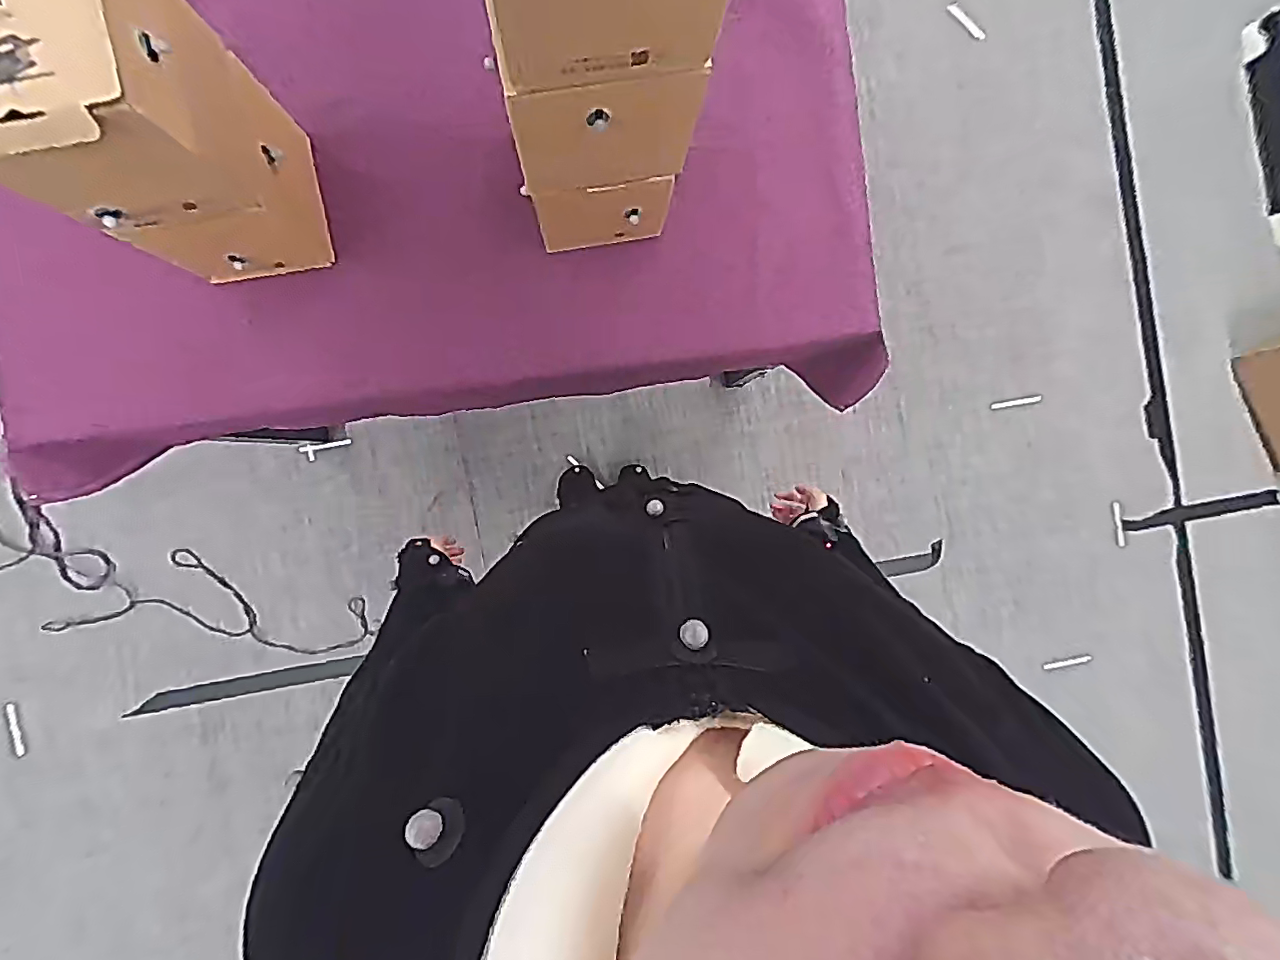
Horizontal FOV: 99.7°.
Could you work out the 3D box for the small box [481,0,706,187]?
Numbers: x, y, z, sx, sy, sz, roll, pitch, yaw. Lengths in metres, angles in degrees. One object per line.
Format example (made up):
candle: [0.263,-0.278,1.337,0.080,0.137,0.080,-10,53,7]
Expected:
small box: [-0.049,-0.407,0.515,0.179,0.176,0.168,-11,94,-5]

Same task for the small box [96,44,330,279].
small box: [-0.507,-0.364,0.647,0.168,0.176,0.179,-11,94,-4]

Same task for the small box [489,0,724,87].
small box: [-0.031,-0.407,0.352,0.168,0.176,0.179,-10,93,-4]

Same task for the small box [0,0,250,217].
small box: [-0.495,-0.358,0.483,0.168,0.176,0.179,-12,93,-5]

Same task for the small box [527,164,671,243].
small box: [-0.062,-0.417,0.678,0.168,0.176,0.179,-10,93,-5]
